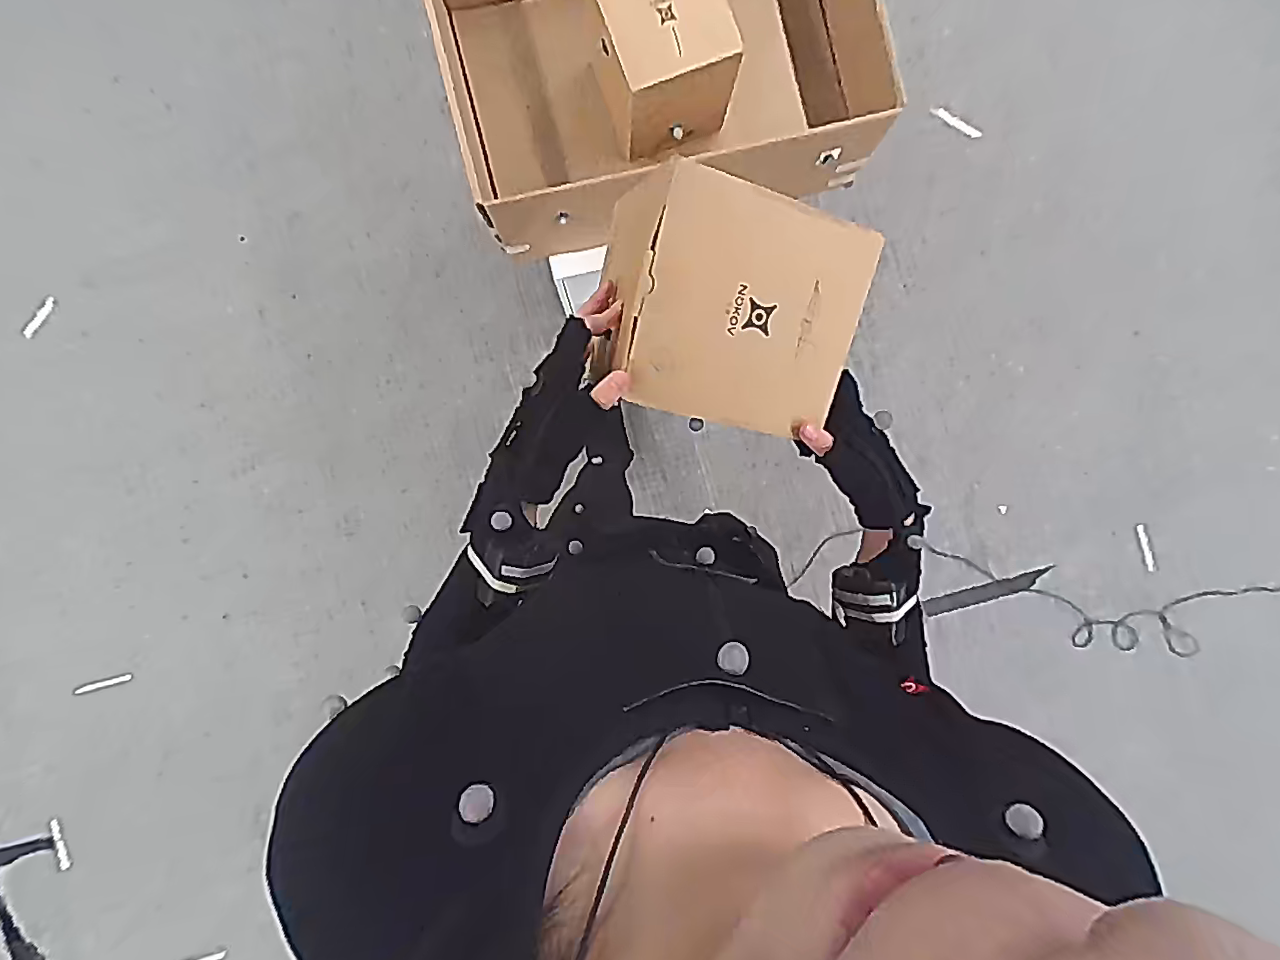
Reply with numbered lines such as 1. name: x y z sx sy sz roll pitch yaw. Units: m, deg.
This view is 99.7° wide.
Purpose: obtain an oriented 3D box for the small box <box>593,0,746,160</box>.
1. small box: 0.033 -0.621 0.796 0.168 0.176 0.179 -21 92 -2
